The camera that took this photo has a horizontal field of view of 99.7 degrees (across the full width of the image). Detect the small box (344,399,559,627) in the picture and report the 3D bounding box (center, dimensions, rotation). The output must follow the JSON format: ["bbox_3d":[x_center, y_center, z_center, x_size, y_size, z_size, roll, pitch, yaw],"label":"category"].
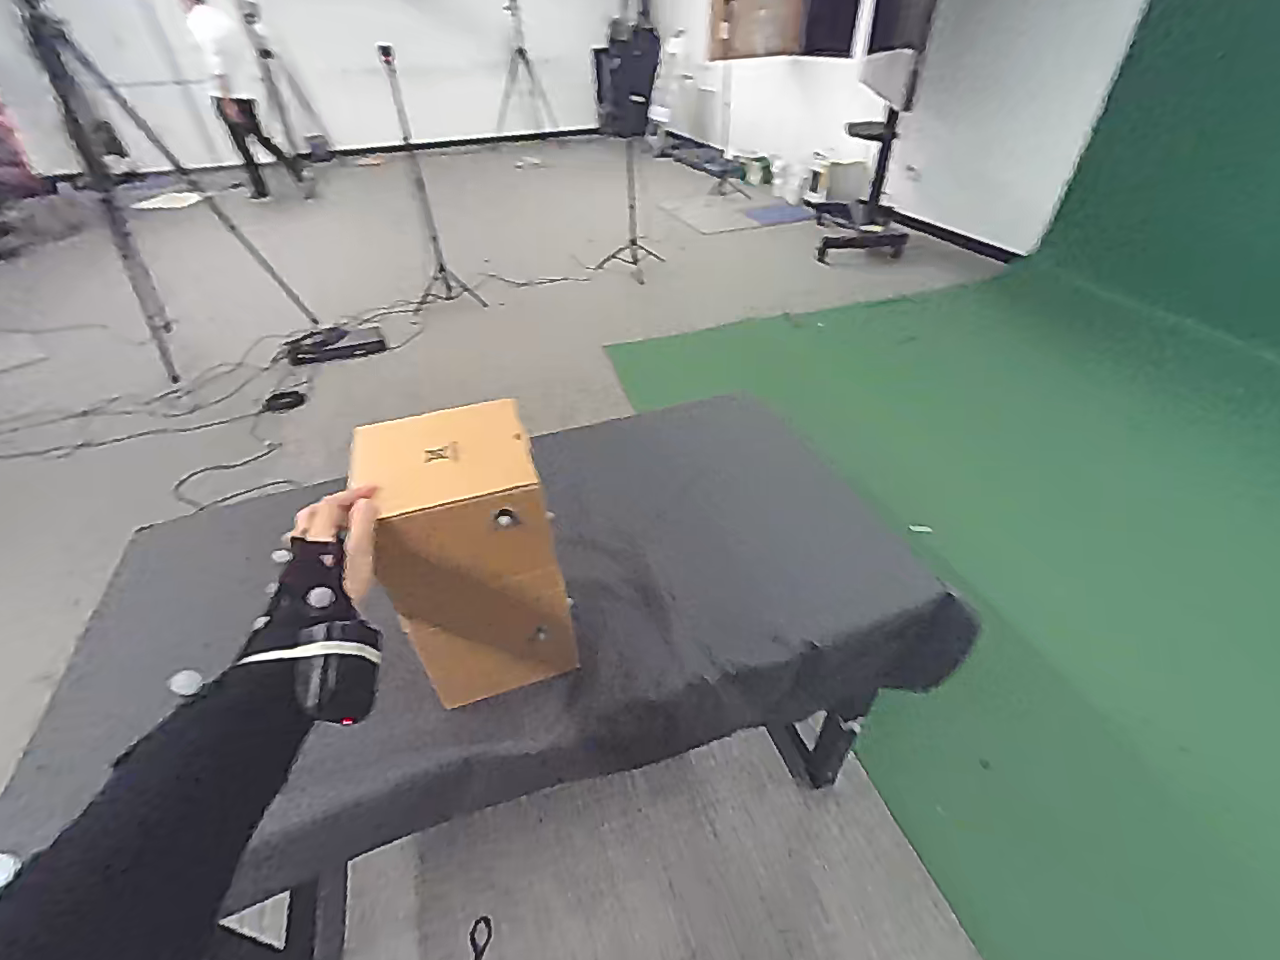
[{"bbox_3d":[-0.201,0.036,0.604,0.179,0.176,0.168,-14,41,-14],"label":"small box"}]
